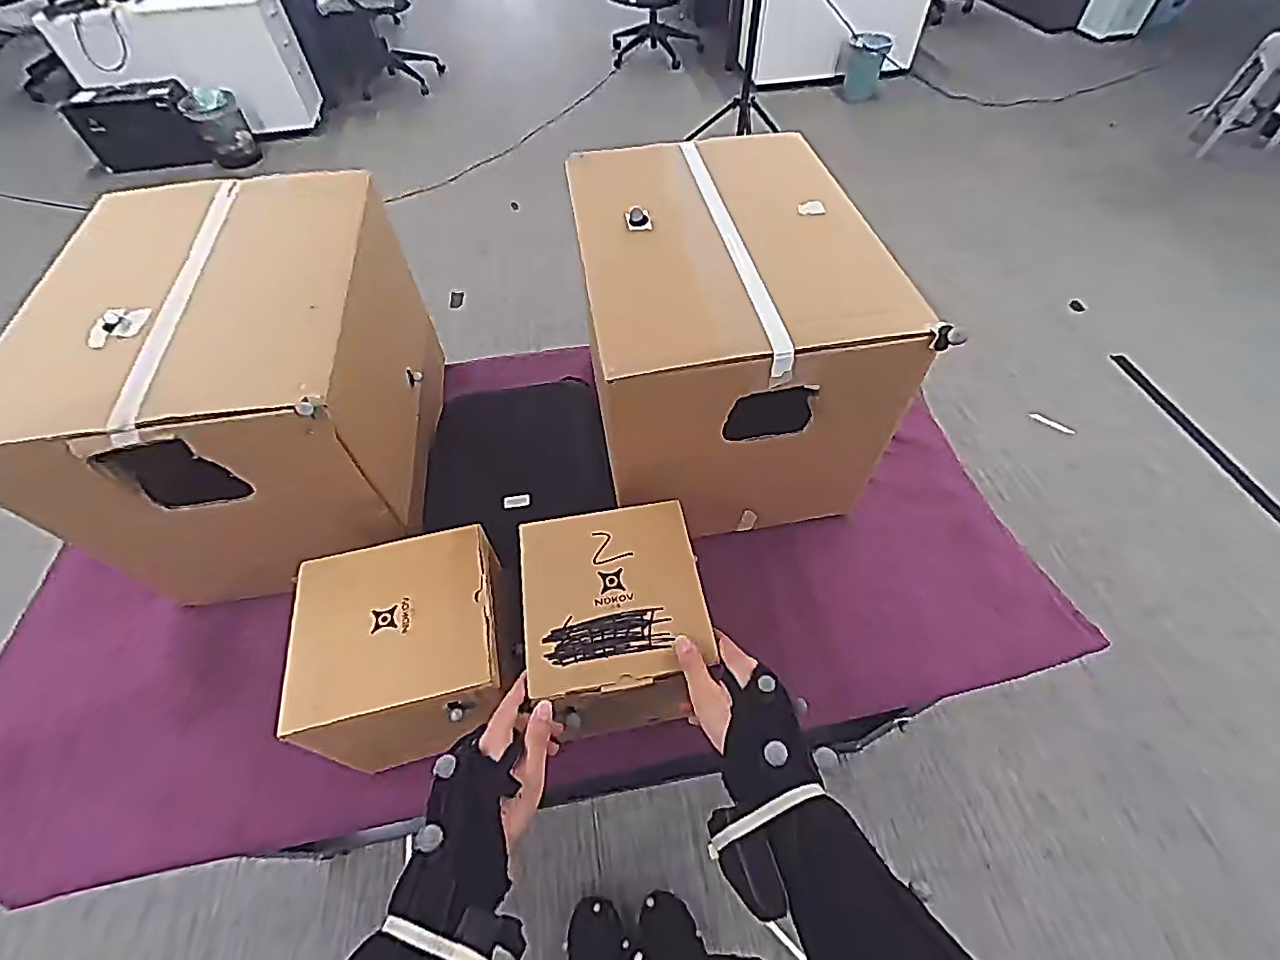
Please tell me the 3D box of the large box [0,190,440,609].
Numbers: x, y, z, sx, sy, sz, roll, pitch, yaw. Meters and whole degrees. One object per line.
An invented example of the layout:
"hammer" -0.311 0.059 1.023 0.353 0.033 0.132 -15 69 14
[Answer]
"large box" -0.453 -0.100 0.685 0.320 0.320 0.408 -10 57 -5
